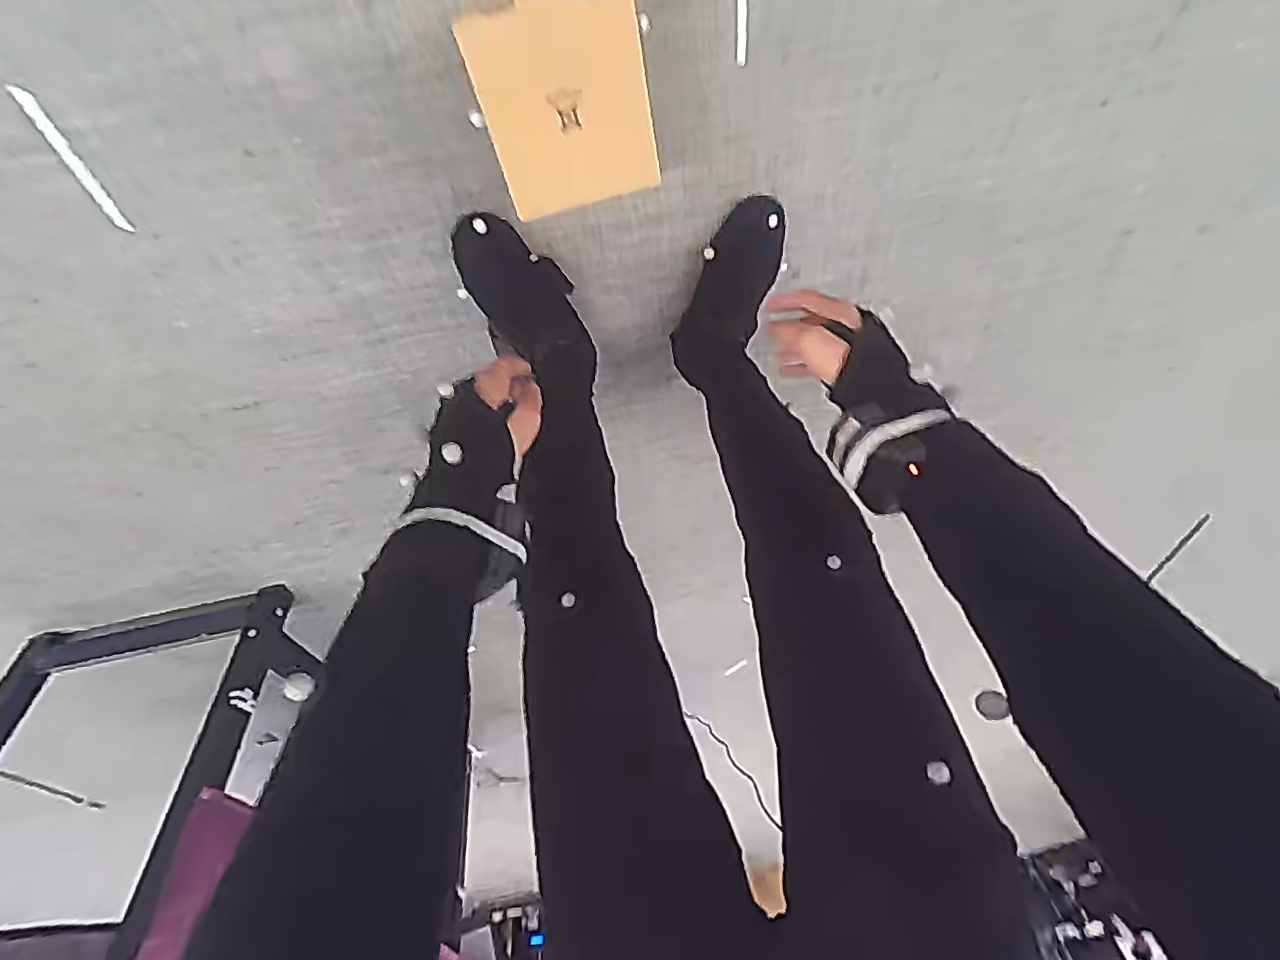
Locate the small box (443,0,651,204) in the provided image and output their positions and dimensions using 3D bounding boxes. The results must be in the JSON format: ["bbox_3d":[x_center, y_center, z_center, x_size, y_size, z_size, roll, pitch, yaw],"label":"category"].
[{"bbox_3d":[-0.092,-0.436,0.586,0.168,0.176,0.179,-14,136,1],"label":"small box"}]
